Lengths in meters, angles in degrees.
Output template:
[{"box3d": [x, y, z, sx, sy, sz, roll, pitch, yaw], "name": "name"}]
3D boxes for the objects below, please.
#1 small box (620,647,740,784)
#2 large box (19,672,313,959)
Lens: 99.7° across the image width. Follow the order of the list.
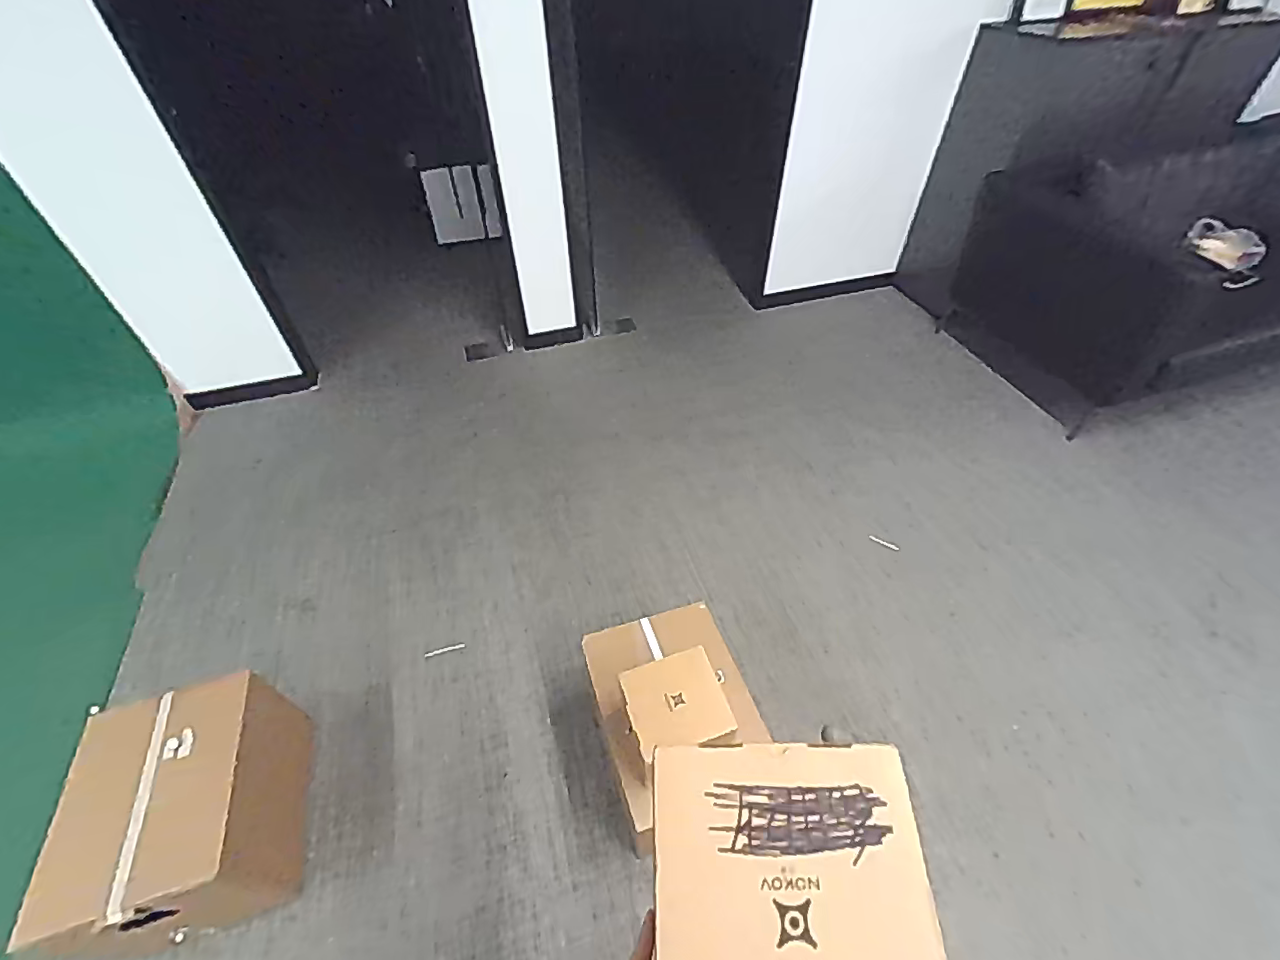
[{"box3d": [0.071, 0.451, 1.033, 0.179, 0.176, 0.168, -16, 49, -10], "name": "small box"}, {"box3d": [-0.934, 0.700, 1.147, 0.320, 0.320, 0.408, -15, 48, -12], "name": "large box"}]
